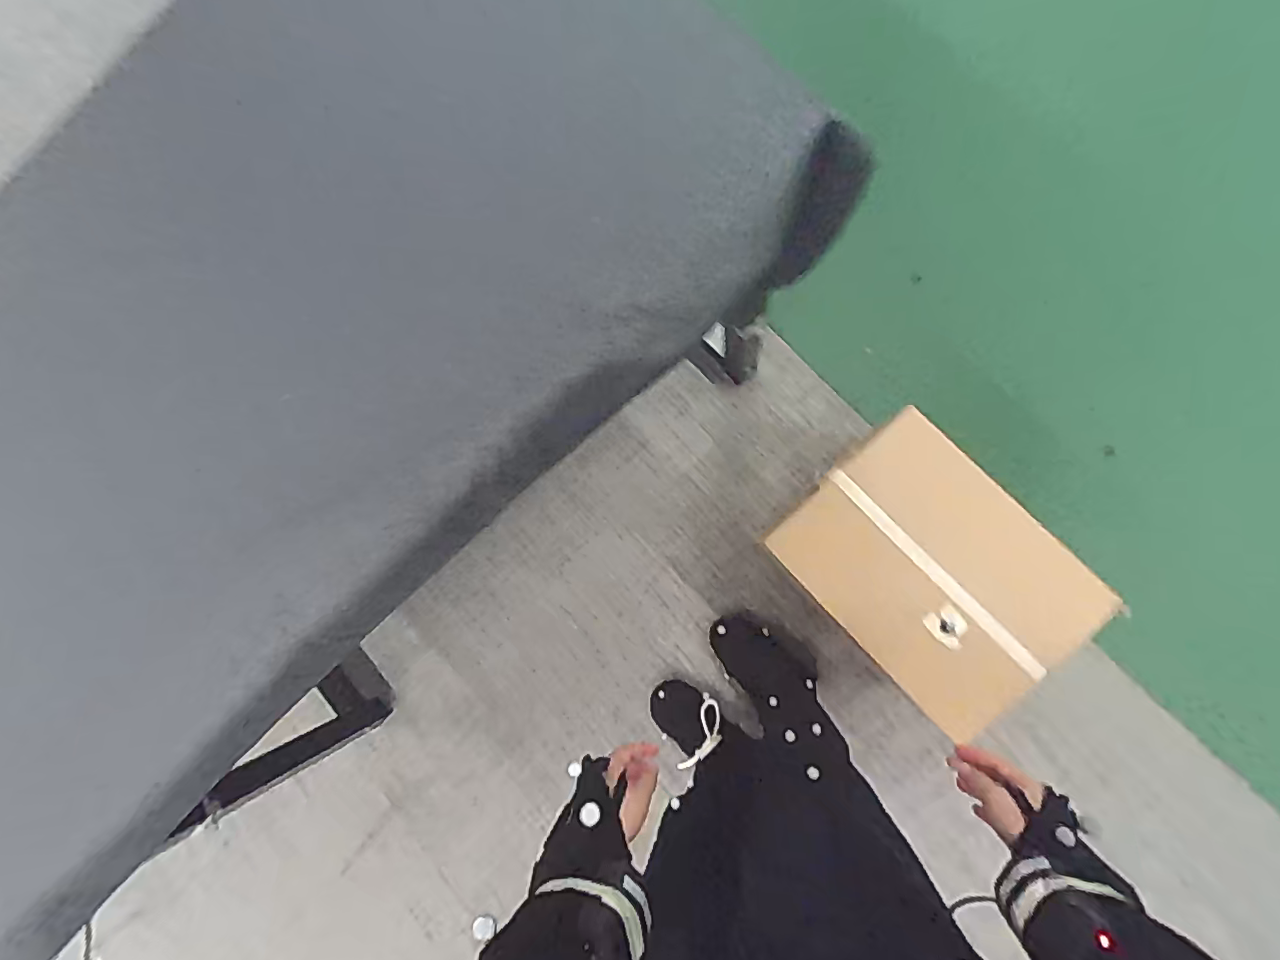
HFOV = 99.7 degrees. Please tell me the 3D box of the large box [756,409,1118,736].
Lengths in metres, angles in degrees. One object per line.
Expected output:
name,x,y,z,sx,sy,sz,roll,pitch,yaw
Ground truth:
large box,0.462,0.143,0.957,0.320,0.320,0.408,-44,81,3
